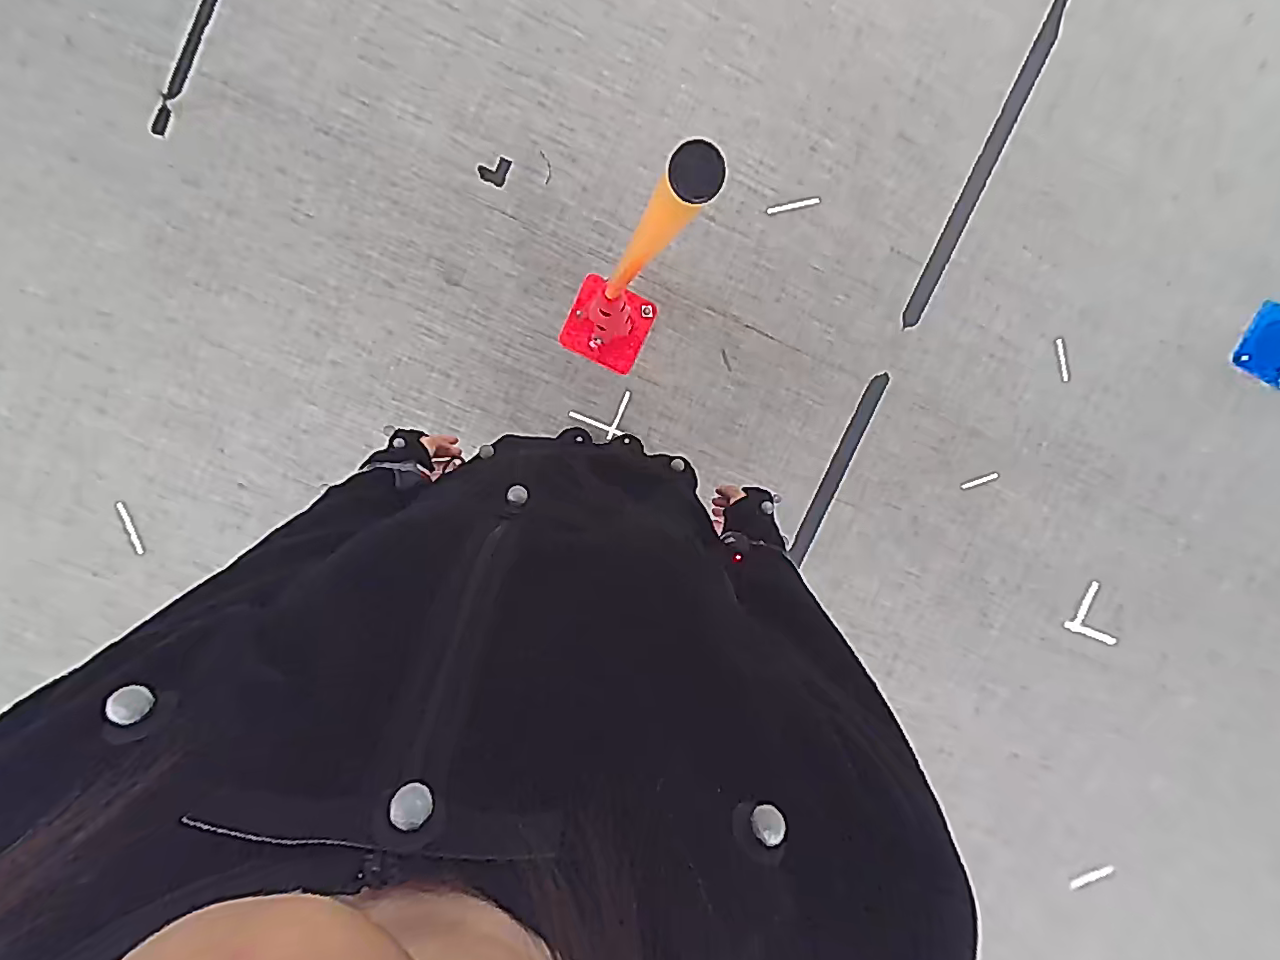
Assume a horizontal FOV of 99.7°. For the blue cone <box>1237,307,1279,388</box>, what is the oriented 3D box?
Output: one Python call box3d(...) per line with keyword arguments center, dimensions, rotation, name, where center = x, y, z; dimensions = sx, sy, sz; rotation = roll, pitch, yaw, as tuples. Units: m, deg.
box3d(center=(1.801, -0.354, 1.354), dimensions=(0.193, 0.380, 0.192), rotation=(27, 94, -6), name="blue cone")
